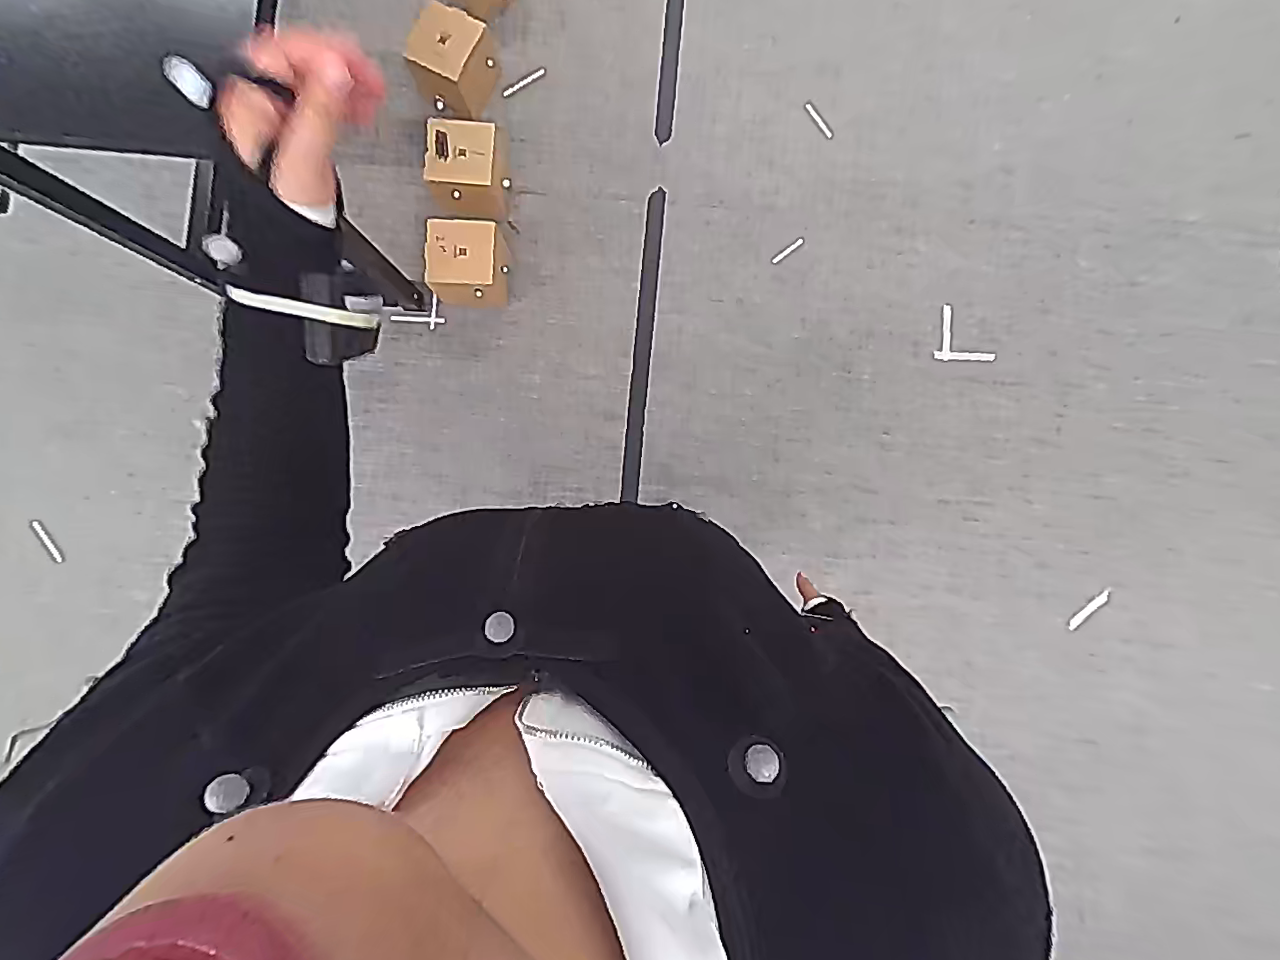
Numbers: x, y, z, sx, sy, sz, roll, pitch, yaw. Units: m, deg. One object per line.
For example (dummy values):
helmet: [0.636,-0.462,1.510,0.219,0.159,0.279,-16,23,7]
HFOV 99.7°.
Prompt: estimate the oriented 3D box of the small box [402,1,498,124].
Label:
small box: [-0.509,-1.134,1.483,0.168,0.176,0.179,25,89,1]

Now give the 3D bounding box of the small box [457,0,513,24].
small box: [-0.462,-1.433,1.492,0.168,0.176,0.179,-42,89,-2]

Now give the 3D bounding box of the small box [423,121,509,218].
small box: [-0.467,-0.835,1.470,0.179,0.176,0.168,4,88,-2]
